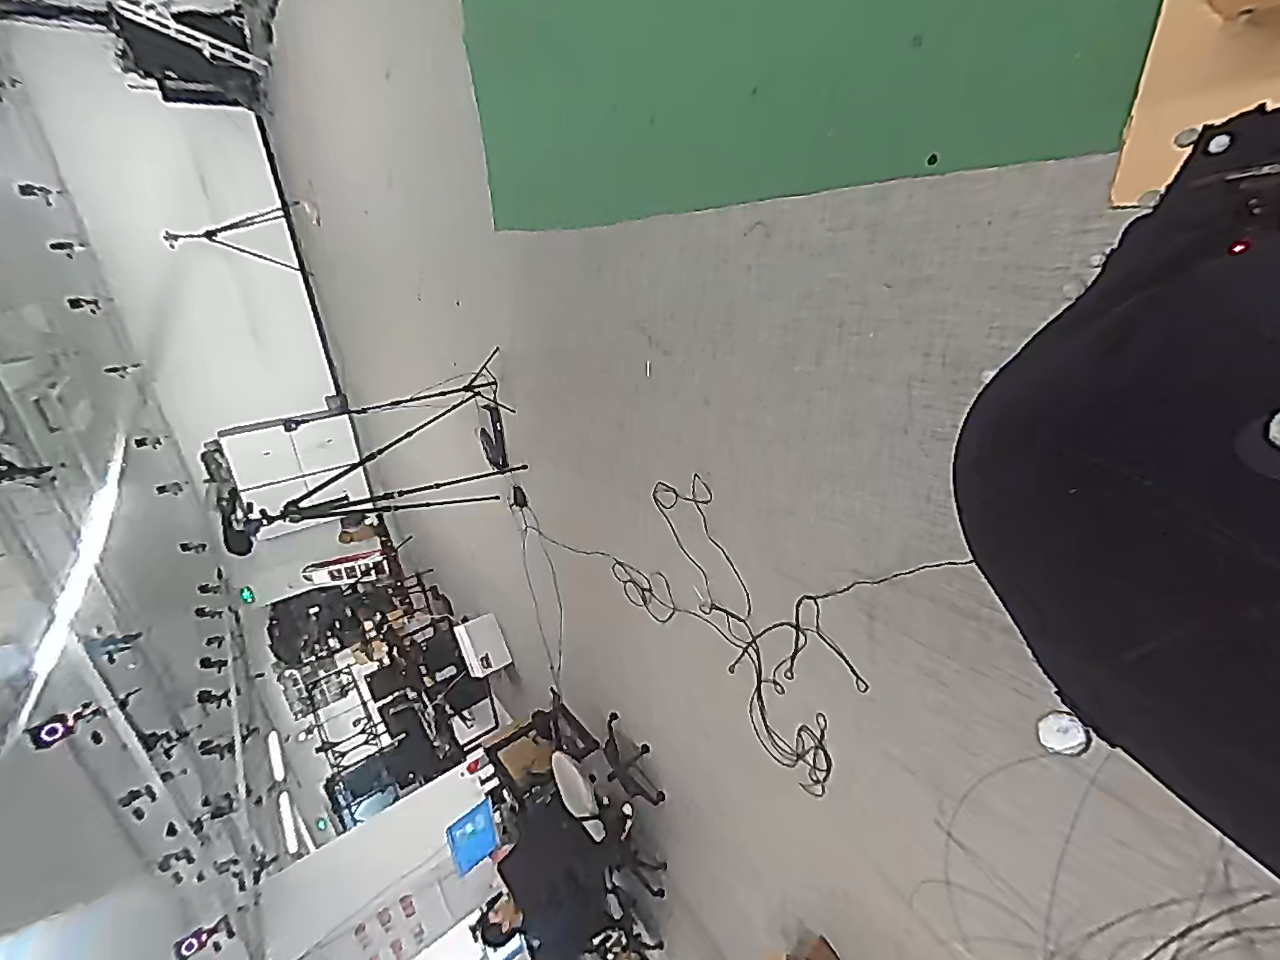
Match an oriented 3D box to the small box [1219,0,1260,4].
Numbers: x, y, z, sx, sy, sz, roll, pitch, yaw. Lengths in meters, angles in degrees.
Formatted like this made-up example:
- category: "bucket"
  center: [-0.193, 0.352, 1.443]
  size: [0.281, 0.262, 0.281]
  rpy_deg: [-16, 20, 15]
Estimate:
- category: "small box"
  center: [0.956, -0.811, 0.765]
  size: [0.168, 0.176, 0.179]
  rpy_deg: [29, 128, 46]
